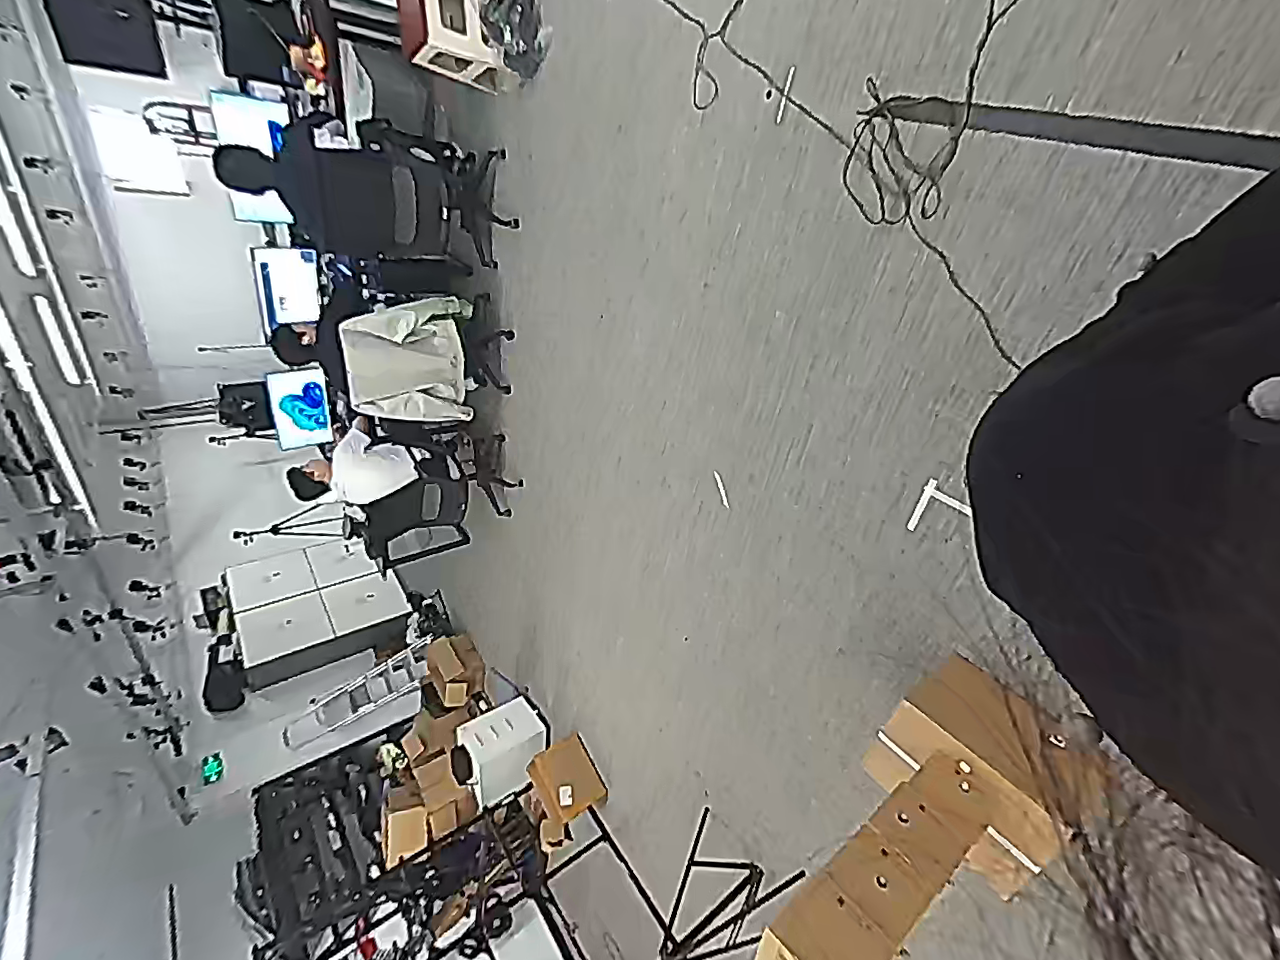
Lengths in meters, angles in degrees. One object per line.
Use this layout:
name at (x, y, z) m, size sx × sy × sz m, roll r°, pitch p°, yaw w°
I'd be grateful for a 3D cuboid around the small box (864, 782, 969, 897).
small box at (0.593, 0.817, 1.199) m, size 0.168 × 0.176 × 0.179 m, roll 37°, pitch 131°, yaw 41°

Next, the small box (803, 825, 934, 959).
small box at (0.466, 0.857, 1.101) m, size 0.168 × 0.176 × 0.179 m, roll 34°, pitch 127°, yaw 44°

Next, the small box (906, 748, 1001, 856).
small box at (0.721, 0.790, 1.294) m, size 0.168 × 0.176 × 0.179 m, roll 38°, pitch 129°, yaw 39°
